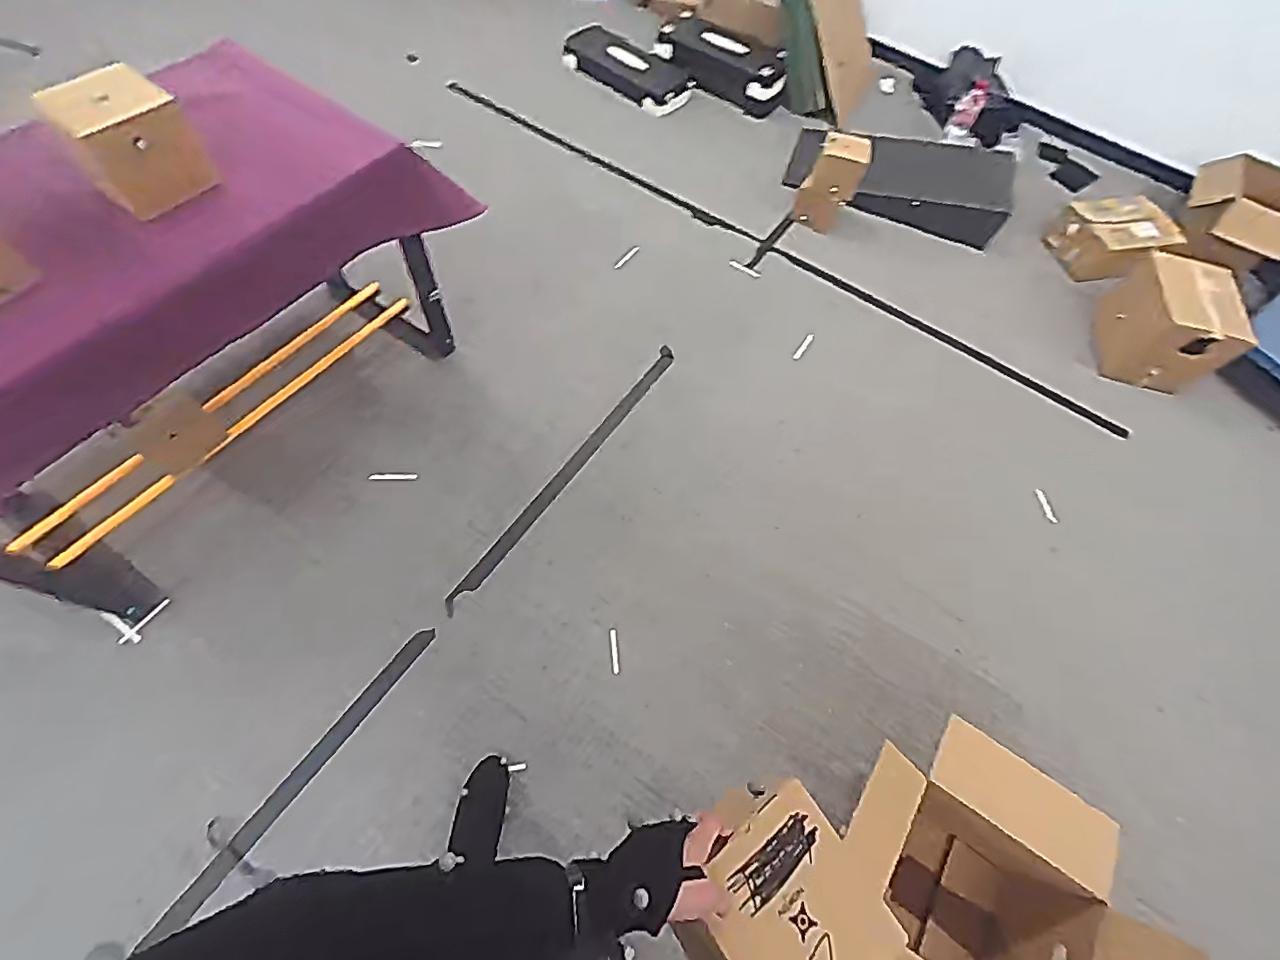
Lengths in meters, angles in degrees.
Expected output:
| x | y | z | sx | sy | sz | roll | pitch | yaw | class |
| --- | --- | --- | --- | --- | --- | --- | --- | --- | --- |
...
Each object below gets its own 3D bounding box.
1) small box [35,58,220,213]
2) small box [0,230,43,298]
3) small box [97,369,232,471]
| x | y | z | sx | sy | sz | roll | pitch | yaw | class |
| --- | --- | --- | --- | --- | --- | --- | --- | --- | --- |
| -0.971 | -0.664 | 1.052 | 0.168 | 0.176 | 0.179 | 36 | 66 | 11 | small box |
| -1.177 | -0.396 | 0.890 | 0.179 | 0.176 | 0.168 | 32 | 64 | 10 | small box |
| -1.262 | -0.156 | 1.452 | 0.168 | 0.176 | 0.179 | 31 | 62 | 9 | small box |
